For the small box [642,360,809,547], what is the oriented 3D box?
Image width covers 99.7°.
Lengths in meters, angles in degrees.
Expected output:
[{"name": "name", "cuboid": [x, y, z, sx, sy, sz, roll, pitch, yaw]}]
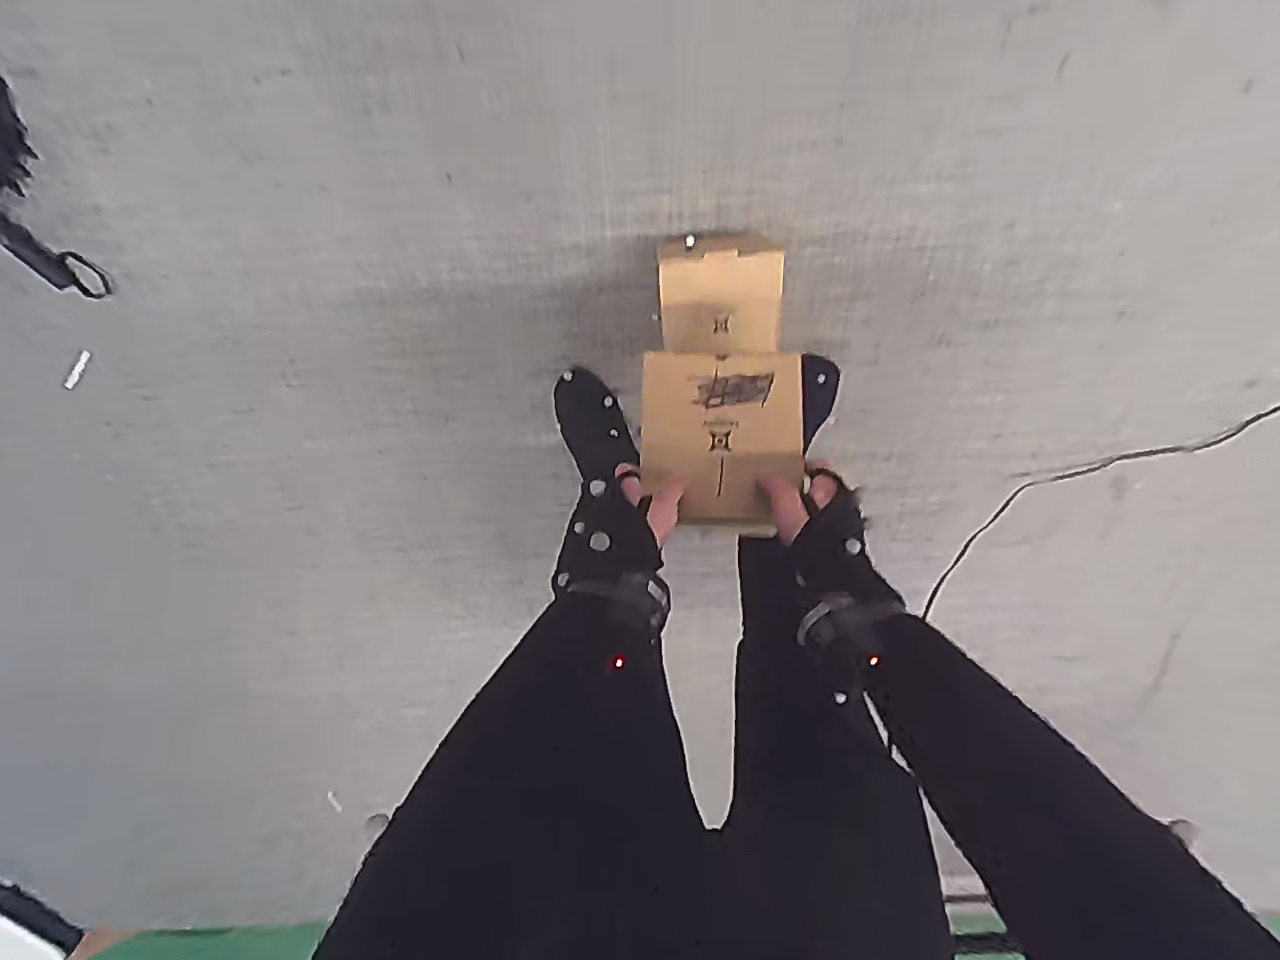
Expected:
[{"name": "small box", "cuboid": [0.088, -0.021, 0.621, 0.168, 0.176, 0.179, 1, 78, 3]}]

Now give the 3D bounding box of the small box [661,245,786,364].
[{"name": "small box", "cuboid": [0.119, -0.251, 0.820, 0.168, 0.176, 0.179, -3, 122, 5]}]
